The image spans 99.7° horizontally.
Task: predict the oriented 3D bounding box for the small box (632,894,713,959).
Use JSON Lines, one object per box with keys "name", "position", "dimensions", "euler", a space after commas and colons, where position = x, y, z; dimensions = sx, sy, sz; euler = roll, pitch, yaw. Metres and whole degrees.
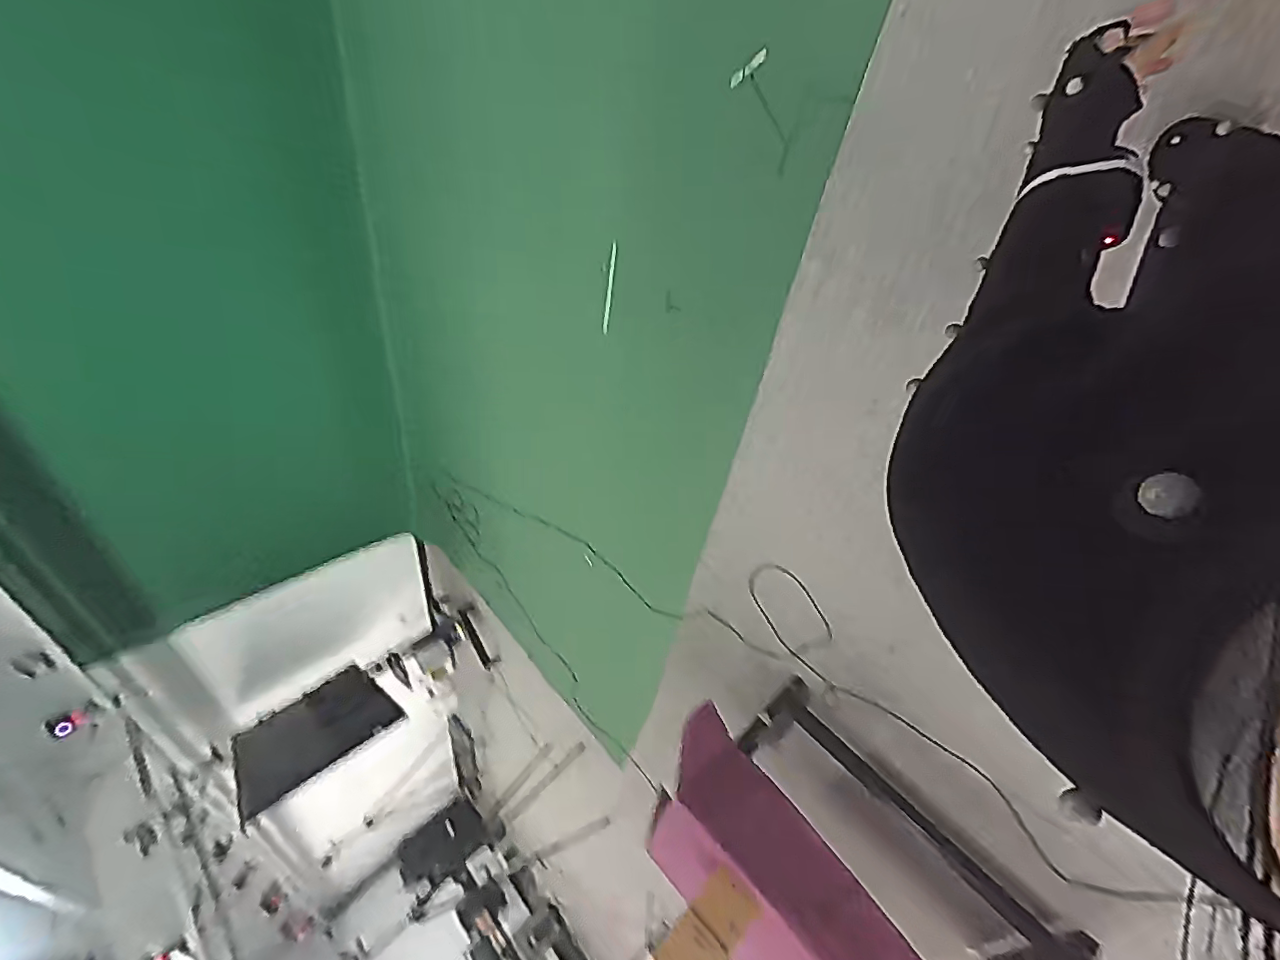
{"name": "small box", "position": [0.098, 1.396, 1.616], "dimensions": [0.168, 0.176, 0.179], "euler": [36, 136, 30]}
